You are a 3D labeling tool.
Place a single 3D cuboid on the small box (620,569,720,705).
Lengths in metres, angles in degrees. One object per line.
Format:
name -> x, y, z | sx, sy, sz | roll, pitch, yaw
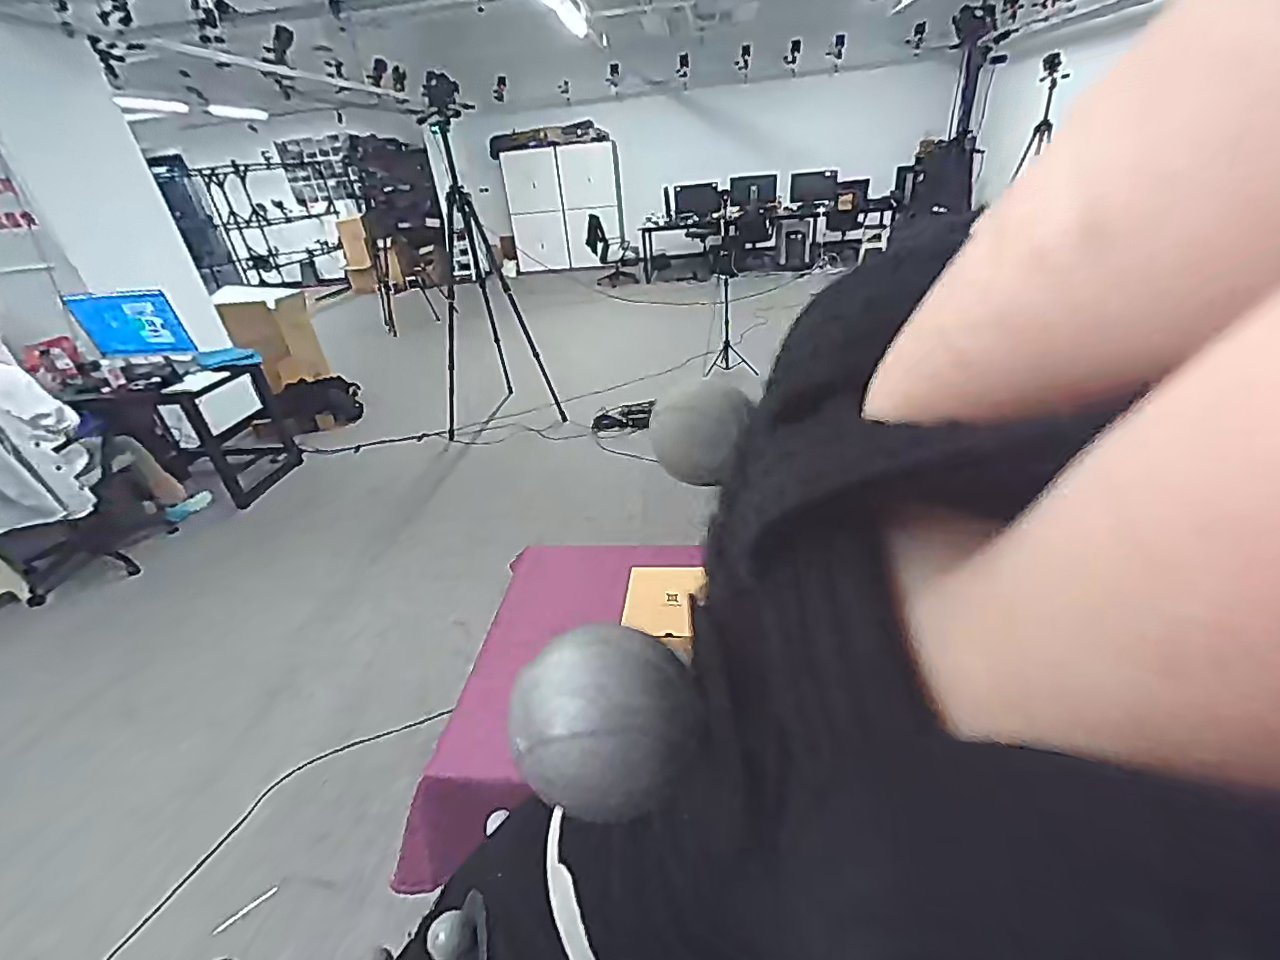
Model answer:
small box -> 0.062, 0.285, 1.001 | 0.168, 0.176, 0.179 | -1, 31, 8
